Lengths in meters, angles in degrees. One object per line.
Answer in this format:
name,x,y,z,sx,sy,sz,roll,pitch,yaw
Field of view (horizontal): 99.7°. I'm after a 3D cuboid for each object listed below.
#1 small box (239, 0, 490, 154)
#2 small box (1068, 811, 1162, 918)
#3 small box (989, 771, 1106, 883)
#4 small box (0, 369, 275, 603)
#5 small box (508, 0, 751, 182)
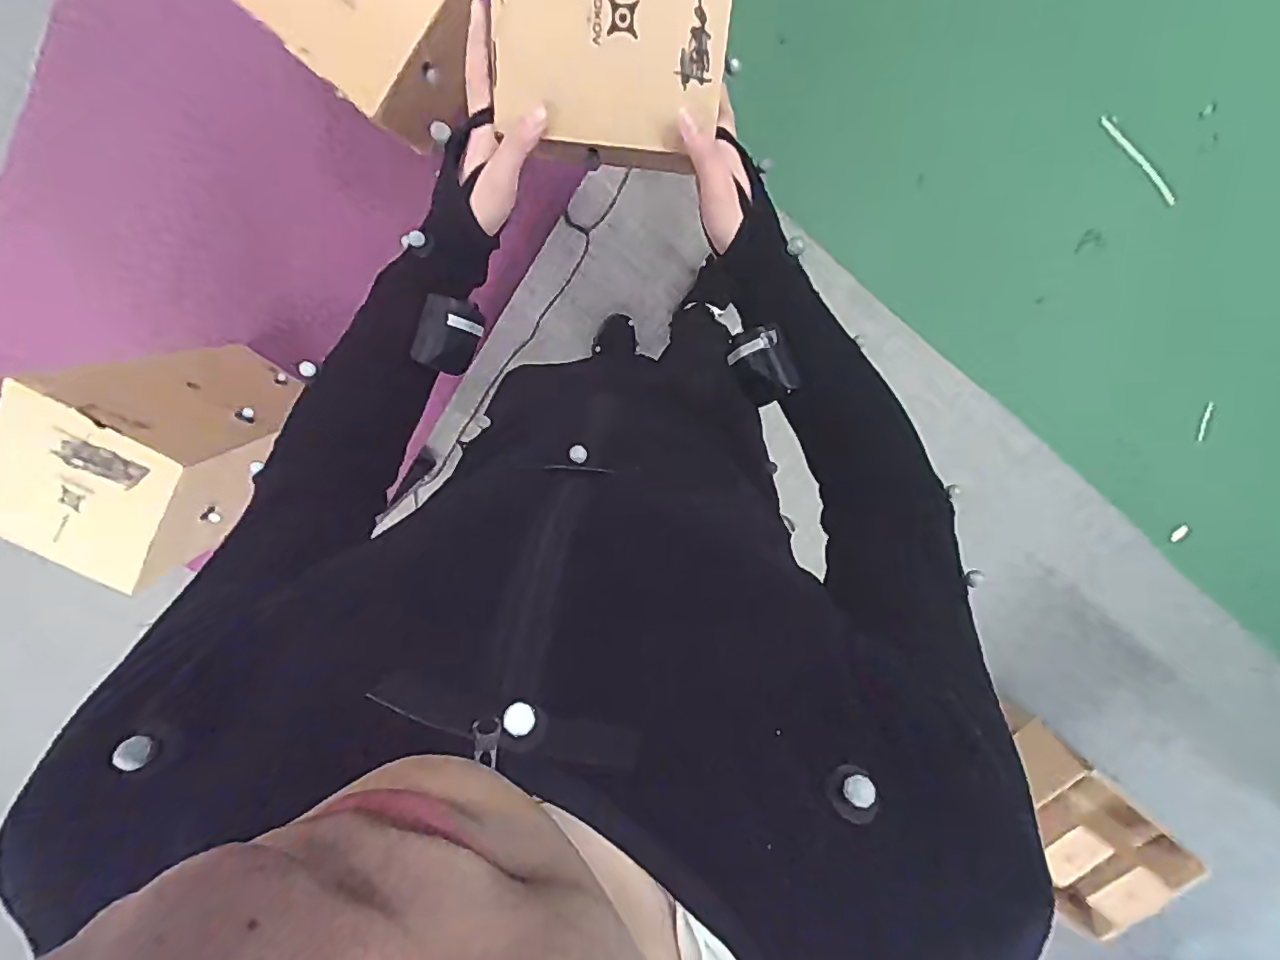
small box,-0.291,-0.517,0.616,0.168,0.176,0.179,38,104,-14
small box,1.339,1.116,1.580,0.168,0.176,0.179,40,103,-14
small box,1.125,0.968,1.515,0.168,0.176,0.179,36,104,-14
small box,-0.554,-0.005,0.604,0.168,0.176,0.179,31,105,-12
small box,-0.006,-0.365,0.468,0.179,0.176,0.168,6,115,-2
